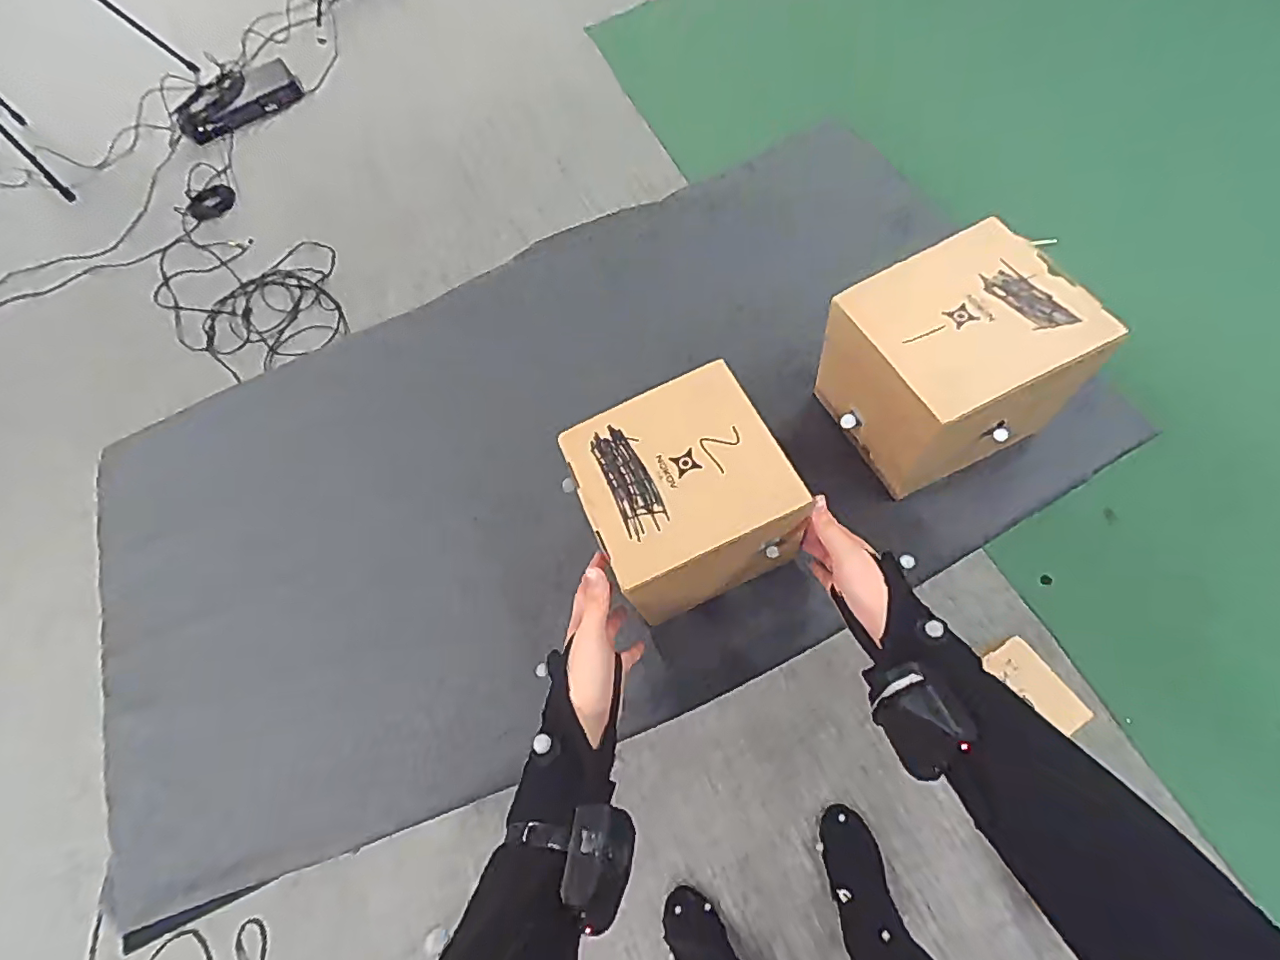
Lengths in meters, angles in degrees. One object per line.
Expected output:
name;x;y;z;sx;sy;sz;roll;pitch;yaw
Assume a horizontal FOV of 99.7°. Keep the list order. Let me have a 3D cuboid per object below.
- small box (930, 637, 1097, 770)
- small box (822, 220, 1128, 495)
small box;0.716;0.431;1.062;0.168;0.176;0.179;-34;68;-4
small box;0.306;-0.112;0.545;0.179;0.176;0.168;-26;63;0
